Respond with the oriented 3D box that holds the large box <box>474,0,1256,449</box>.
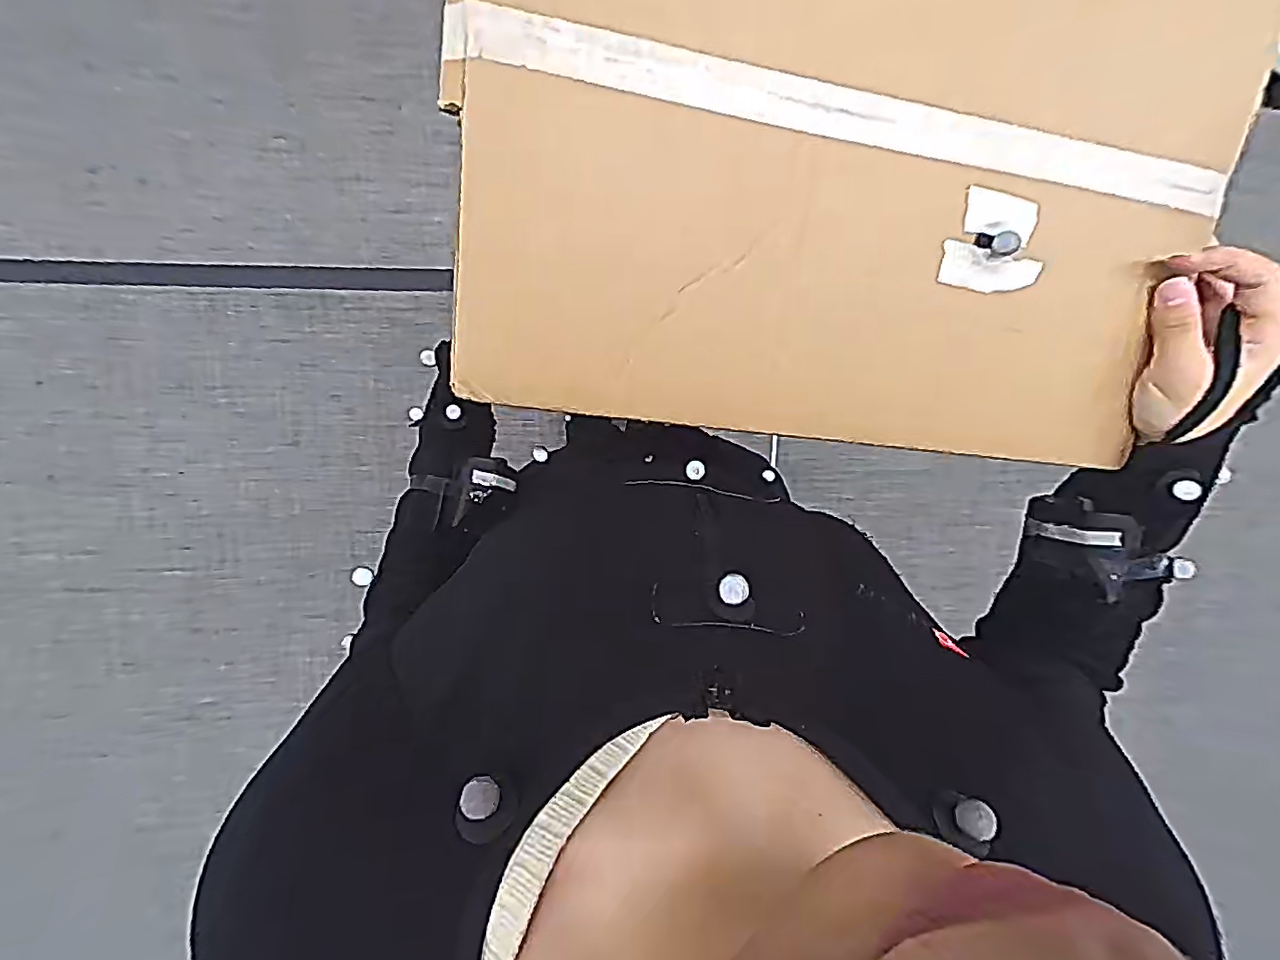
[{"bbox_3d":[0.097,-0.217,0.417,0.408,0.320,0.320,5,105,-12],"label":"large box"}]
